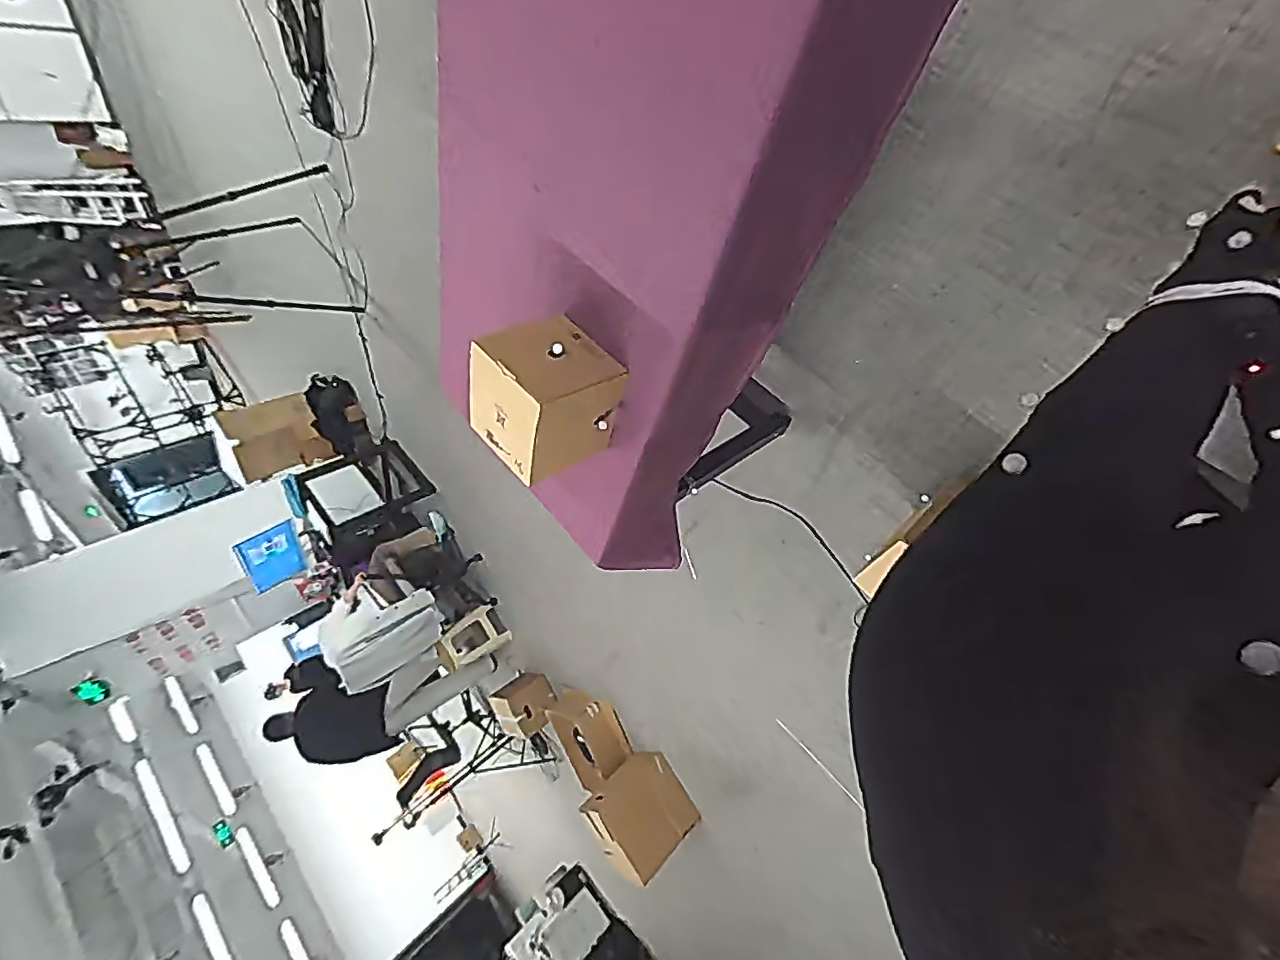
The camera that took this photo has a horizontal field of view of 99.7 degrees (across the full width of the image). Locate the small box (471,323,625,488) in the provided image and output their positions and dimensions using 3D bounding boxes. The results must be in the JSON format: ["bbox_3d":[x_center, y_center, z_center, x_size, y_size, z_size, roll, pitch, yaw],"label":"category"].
[{"bbox_3d":[-0.145,-0.125,0.859,0.168,0.176,0.179,44,139,21],"label":"small box"}]
